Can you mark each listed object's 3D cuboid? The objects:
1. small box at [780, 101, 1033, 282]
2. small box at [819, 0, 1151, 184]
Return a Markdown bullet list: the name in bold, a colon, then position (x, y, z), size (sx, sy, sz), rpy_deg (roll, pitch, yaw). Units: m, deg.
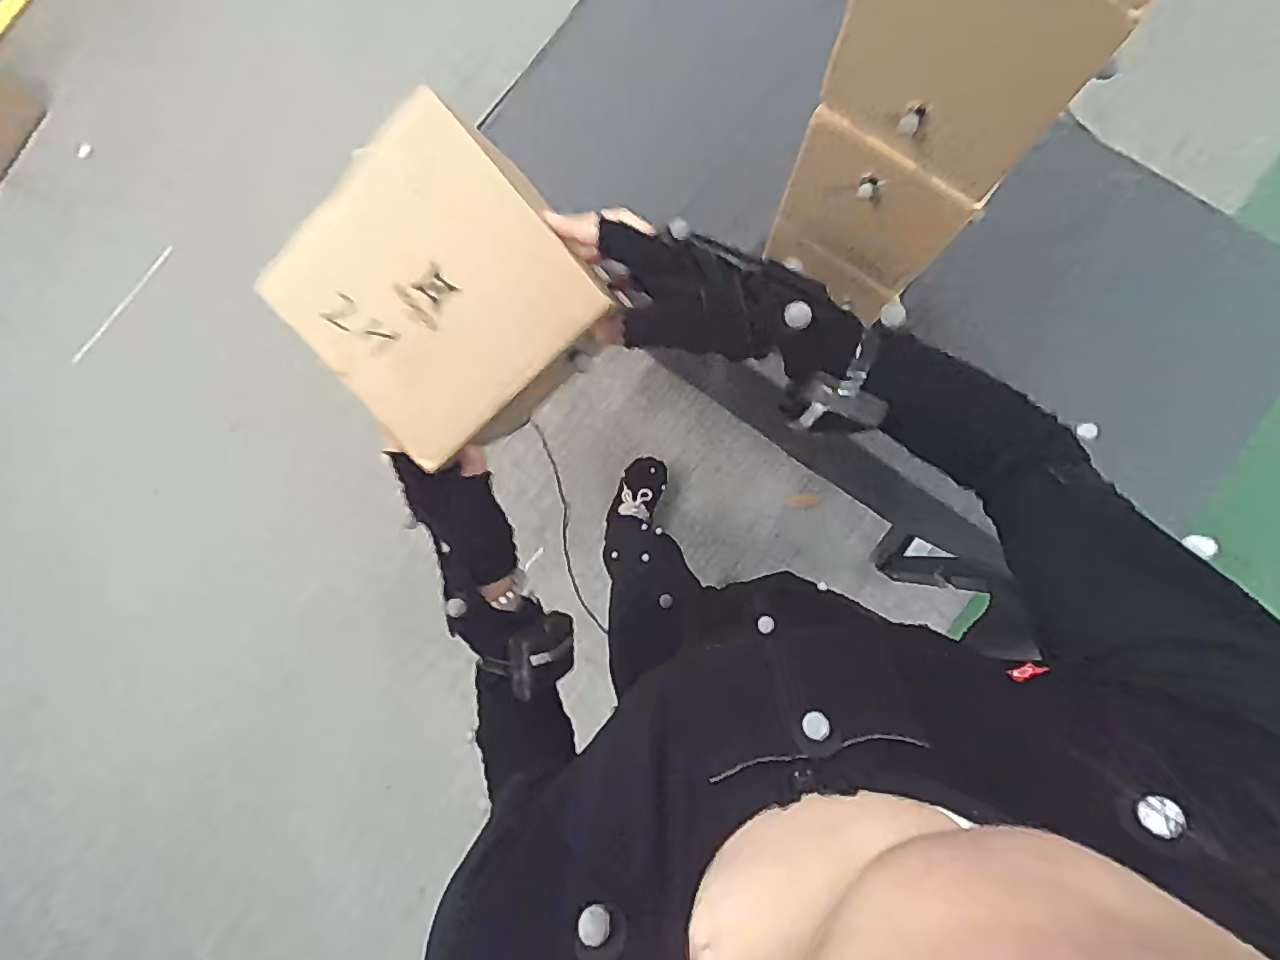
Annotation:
- **small box**: position (0.278, -0.342, 0.576), size (0.179, 0.176, 0.168), rpy_deg (36, 85, 7)
- **small box**: position (0.272, -0.370, 0.415), size (0.179, 0.176, 0.168), rpy_deg (38, 85, 7)
